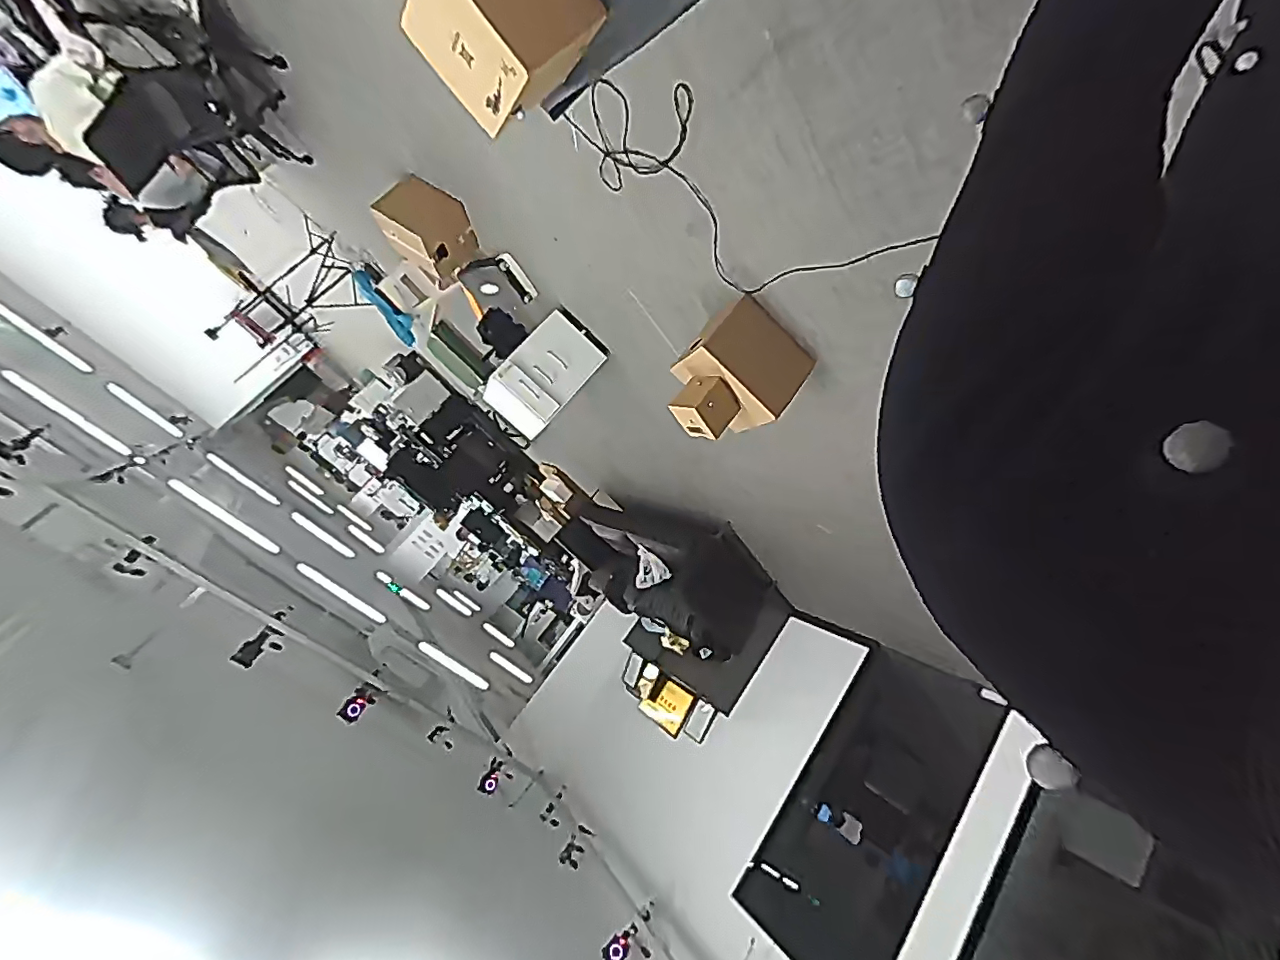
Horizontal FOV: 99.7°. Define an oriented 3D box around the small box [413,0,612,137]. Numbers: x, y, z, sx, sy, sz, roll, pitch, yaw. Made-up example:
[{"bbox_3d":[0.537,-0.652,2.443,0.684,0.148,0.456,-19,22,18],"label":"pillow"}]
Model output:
[{"bbox_3d":[-0.174,-0.632,0.743,0.179,0.176,0.168,47,161,-24],"label":"small box"}]
